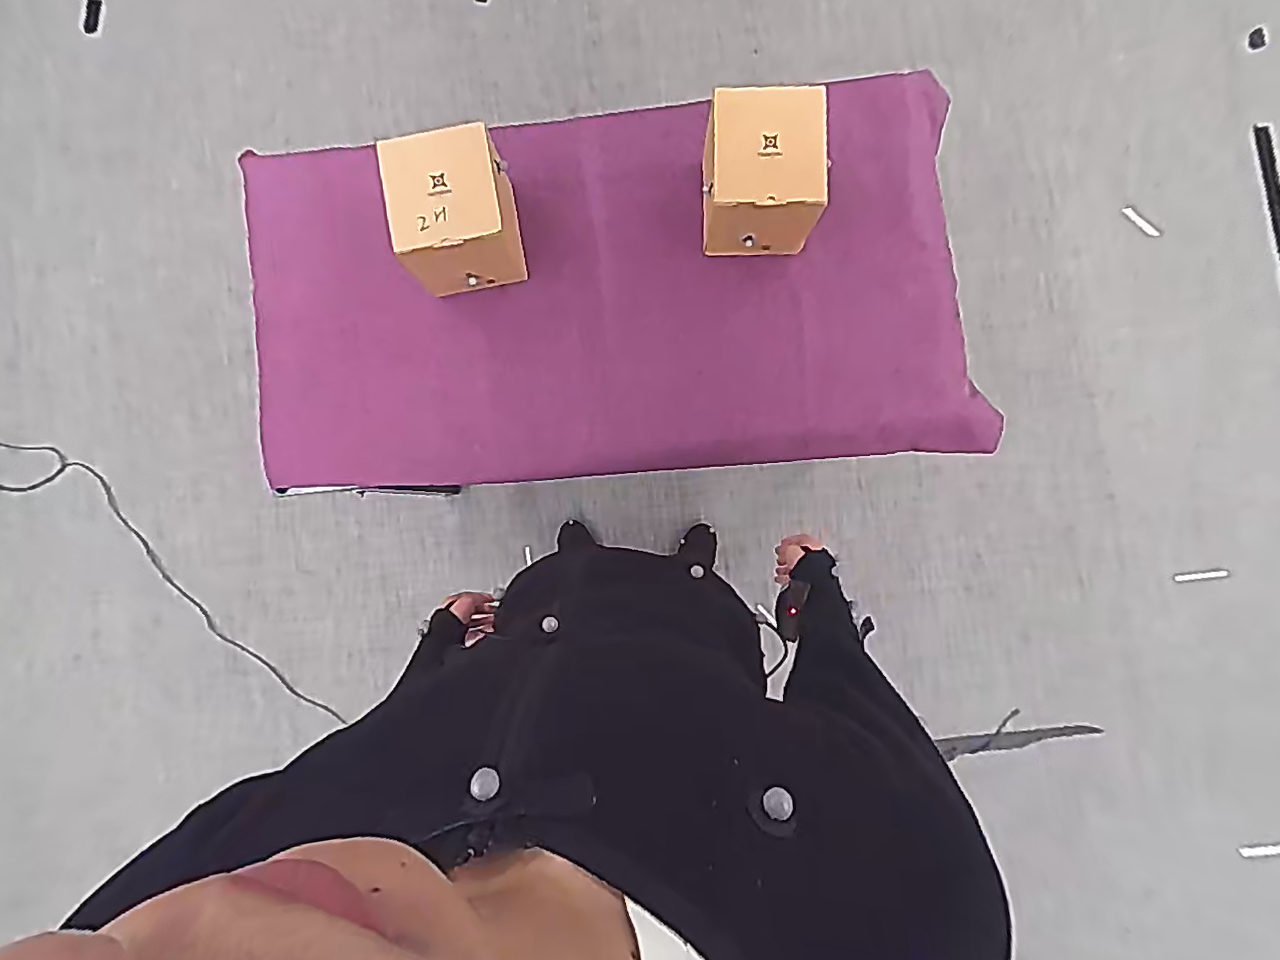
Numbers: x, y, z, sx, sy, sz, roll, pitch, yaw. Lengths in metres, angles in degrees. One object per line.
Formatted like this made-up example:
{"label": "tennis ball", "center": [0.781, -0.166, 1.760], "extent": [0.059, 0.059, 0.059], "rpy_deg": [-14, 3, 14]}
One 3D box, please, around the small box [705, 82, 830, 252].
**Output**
{"label": "small box", "center": [0.193, -0.488, 0.862], "extent": [0.168, 0.176, 0.179], "rpy_deg": [0, 88, 2]}

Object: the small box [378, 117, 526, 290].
{"label": "small box", "center": [-0.292, -0.432, 0.868], "extent": [0.168, 0.176, 0.179], "rpy_deg": [-10, 87, 1]}
